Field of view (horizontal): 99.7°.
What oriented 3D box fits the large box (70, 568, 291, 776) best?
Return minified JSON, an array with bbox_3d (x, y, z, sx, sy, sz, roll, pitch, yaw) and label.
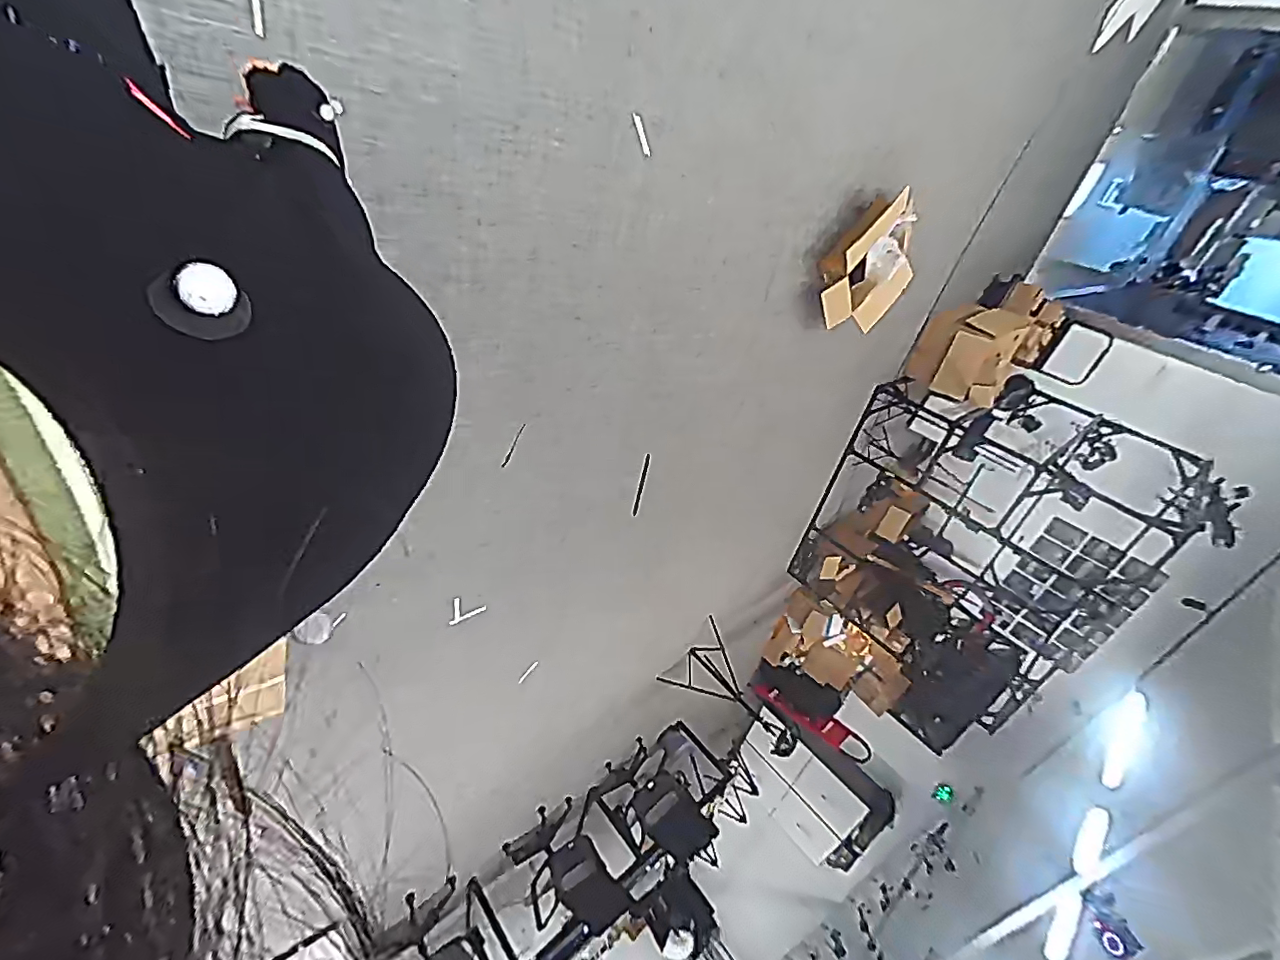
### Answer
[{"bbox_3d":[-1.228,0.493,1.475,0.408,0.320,0.320,-12,130,-46],"label":"large box"}]
